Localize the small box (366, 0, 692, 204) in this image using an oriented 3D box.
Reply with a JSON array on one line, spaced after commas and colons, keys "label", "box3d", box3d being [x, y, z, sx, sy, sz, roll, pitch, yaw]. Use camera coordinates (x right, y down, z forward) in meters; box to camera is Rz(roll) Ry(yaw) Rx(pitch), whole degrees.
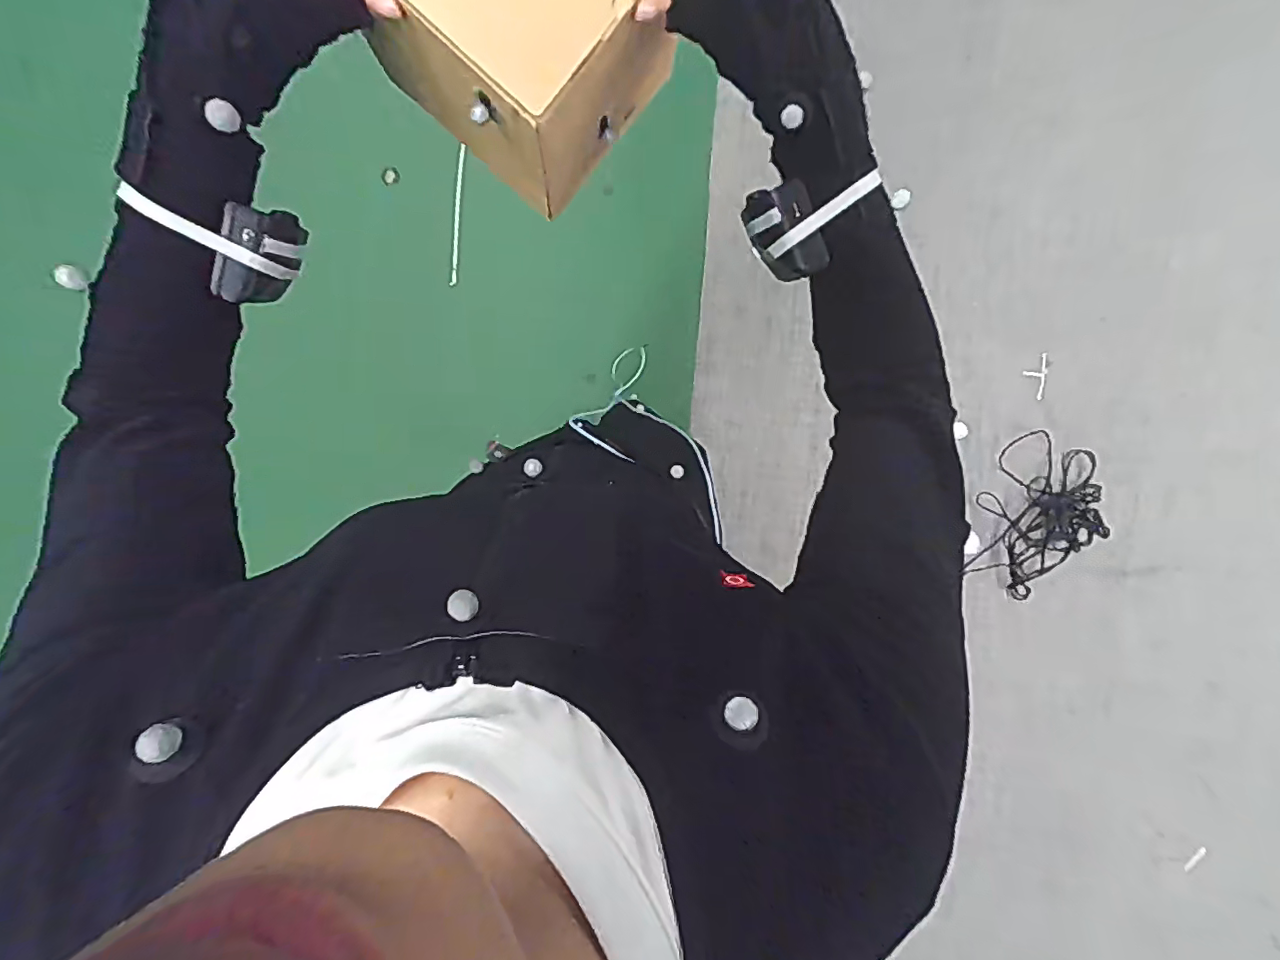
[{"label": "small box", "box3d": [-0.079, -0.338, 0.383, 0.179, 0.176, 0.168, 40, 92, -10]}]
